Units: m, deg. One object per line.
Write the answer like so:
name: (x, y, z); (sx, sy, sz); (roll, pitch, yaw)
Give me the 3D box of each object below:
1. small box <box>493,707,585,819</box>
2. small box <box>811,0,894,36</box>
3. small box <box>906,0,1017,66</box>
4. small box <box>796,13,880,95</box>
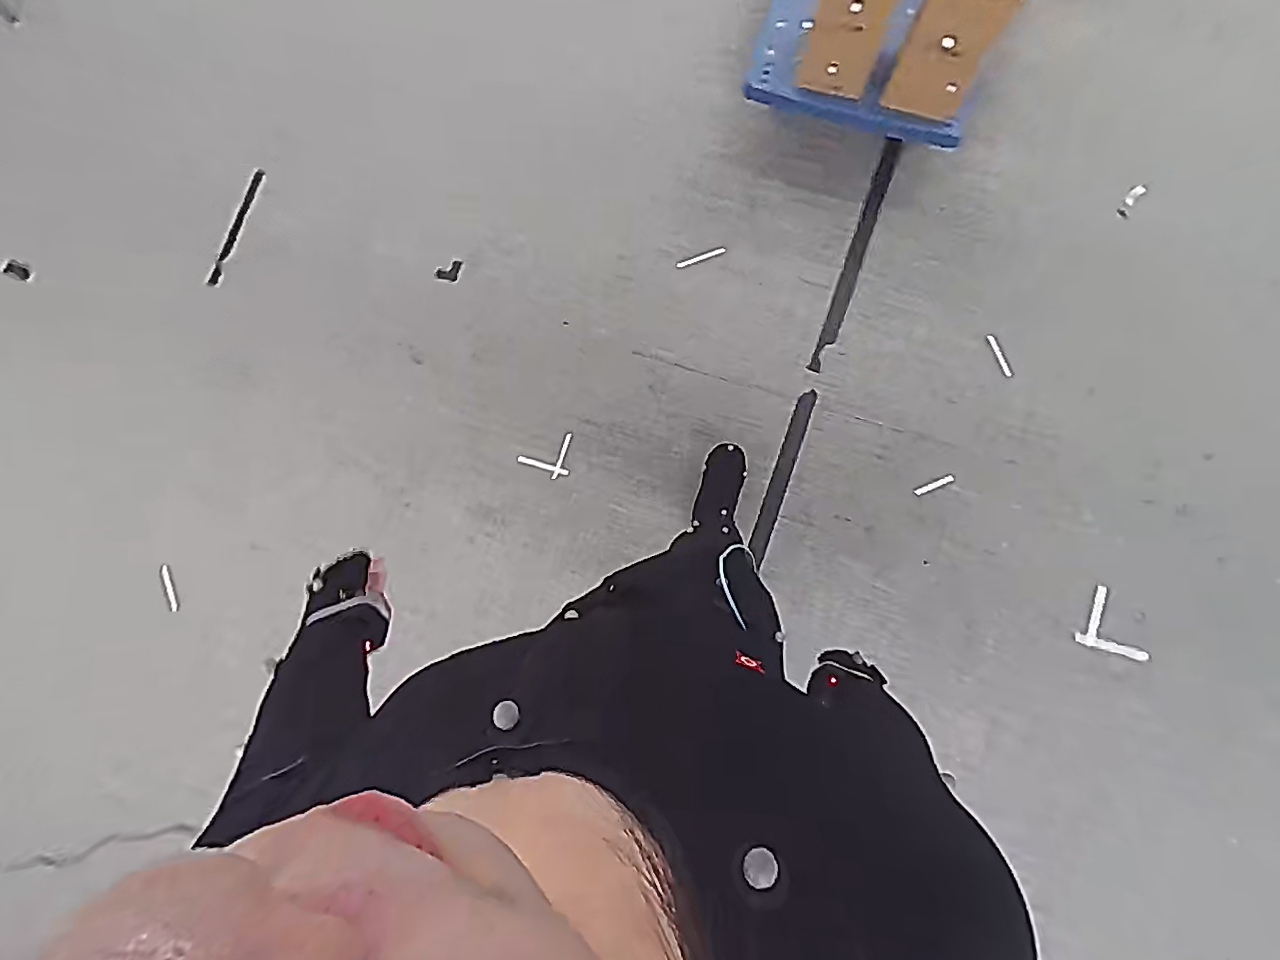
small box: (-0.252, 0.724, 1.401); (0.168, 0.176, 0.179); (19, 86, 5)
small box: (0.473, -1.092, 1.136); (0.168, 0.176, 0.179); (15, 87, 5)
small box: (0.679, -1.017, 1.113); (0.168, 0.176, 0.179); (20, 88, 6)
small box: (0.488, -1.079, 1.300); (0.168, 0.176, 0.179); (17, 86, 5)
